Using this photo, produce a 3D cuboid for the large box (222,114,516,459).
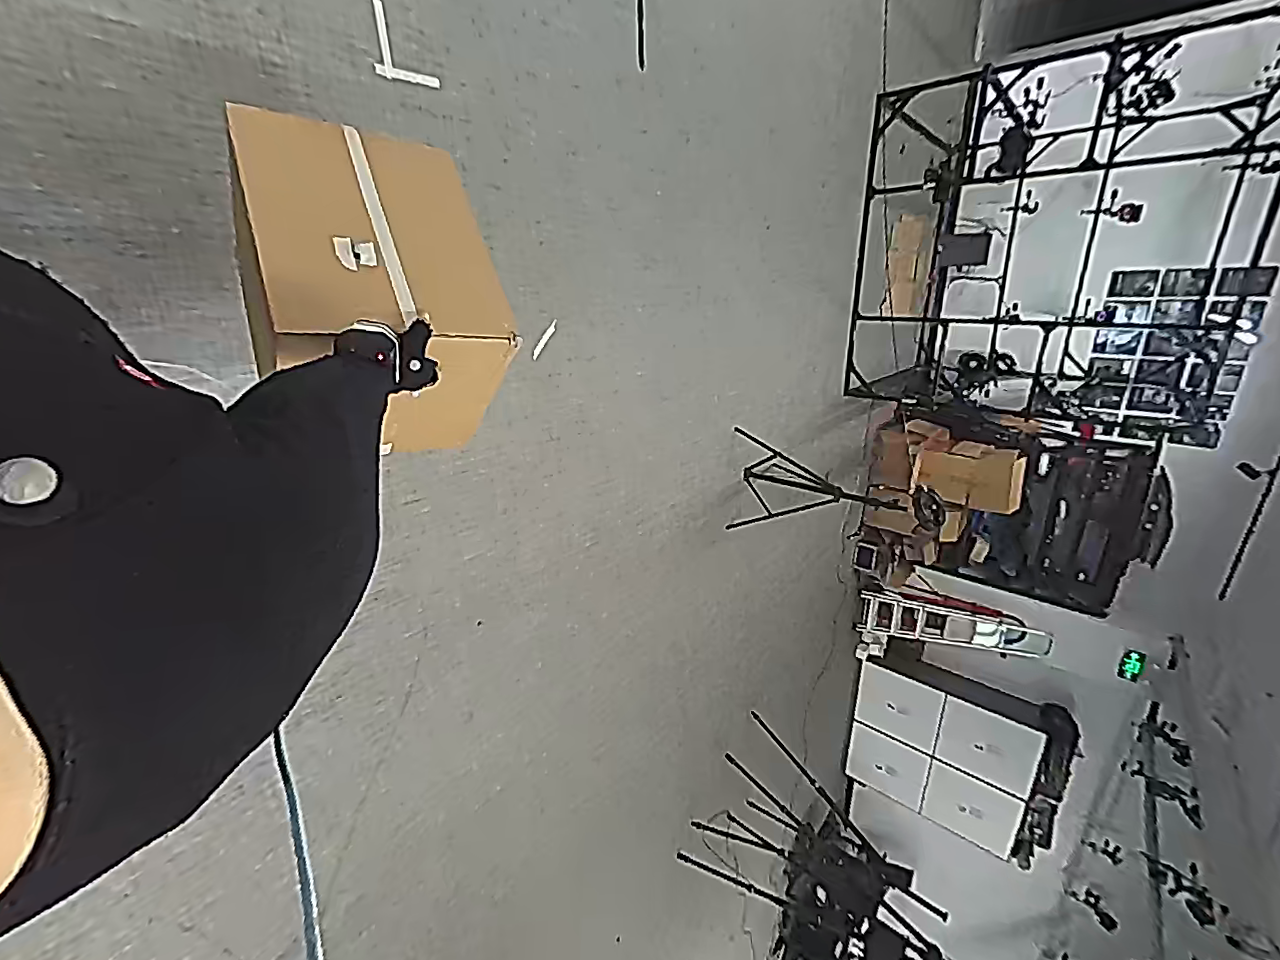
[{"bbox_3d":[-0.460,-0.293,0.902,0.320,0.320,0.408,-11,70,-37],"label":"large box"}]
